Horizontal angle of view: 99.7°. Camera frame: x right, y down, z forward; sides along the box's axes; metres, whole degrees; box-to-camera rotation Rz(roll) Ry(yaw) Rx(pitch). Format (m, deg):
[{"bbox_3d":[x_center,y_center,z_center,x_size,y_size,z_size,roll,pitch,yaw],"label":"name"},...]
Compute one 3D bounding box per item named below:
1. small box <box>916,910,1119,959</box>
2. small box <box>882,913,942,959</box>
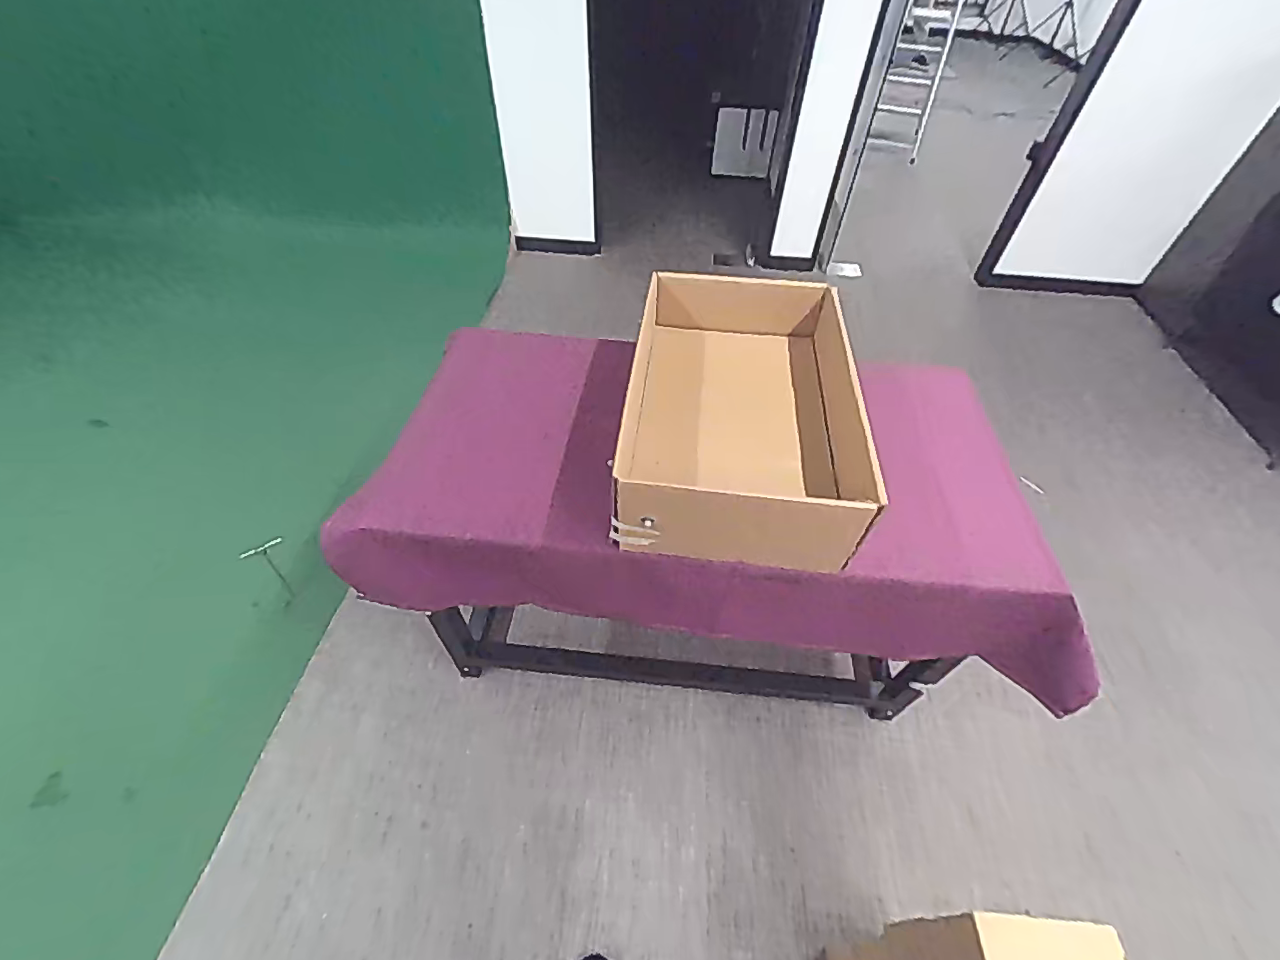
[{"bbox_3d":[0.486,0.662,0.683,0.179,0.176,0.168,5,47,2],"label":"small box"},{"bbox_3d":[0.481,0.774,0.804,0.168,0.176,0.179,6,48,3],"label":"small box"}]
